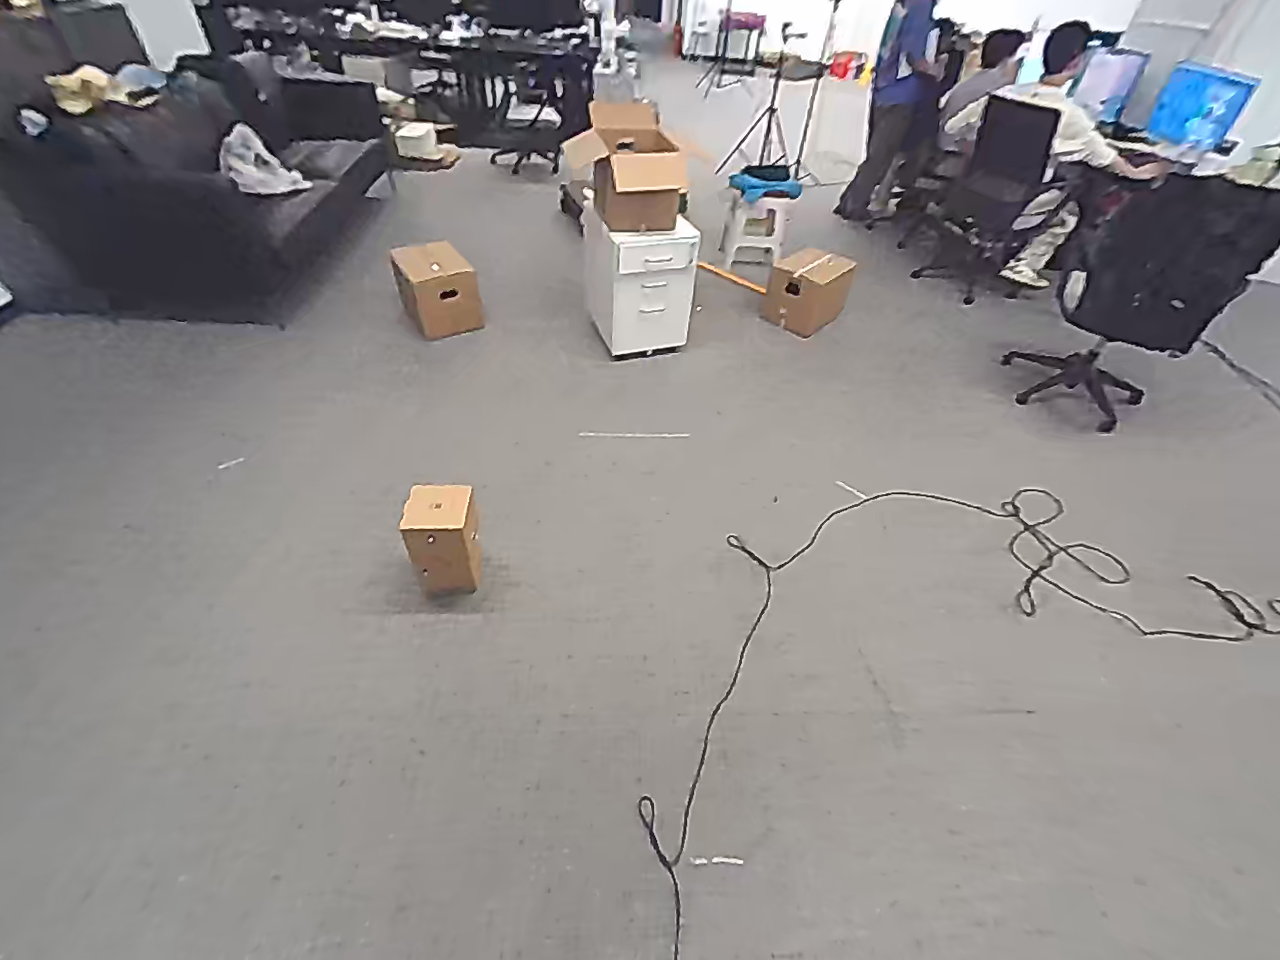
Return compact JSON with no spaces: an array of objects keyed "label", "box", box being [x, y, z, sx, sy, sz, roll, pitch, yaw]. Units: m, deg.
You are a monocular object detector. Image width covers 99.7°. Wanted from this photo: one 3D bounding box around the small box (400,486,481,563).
[{"label":"small box","box":[-0.583,0.133,1.603,0.179,0.176,0.168,1,46,-6]}]
